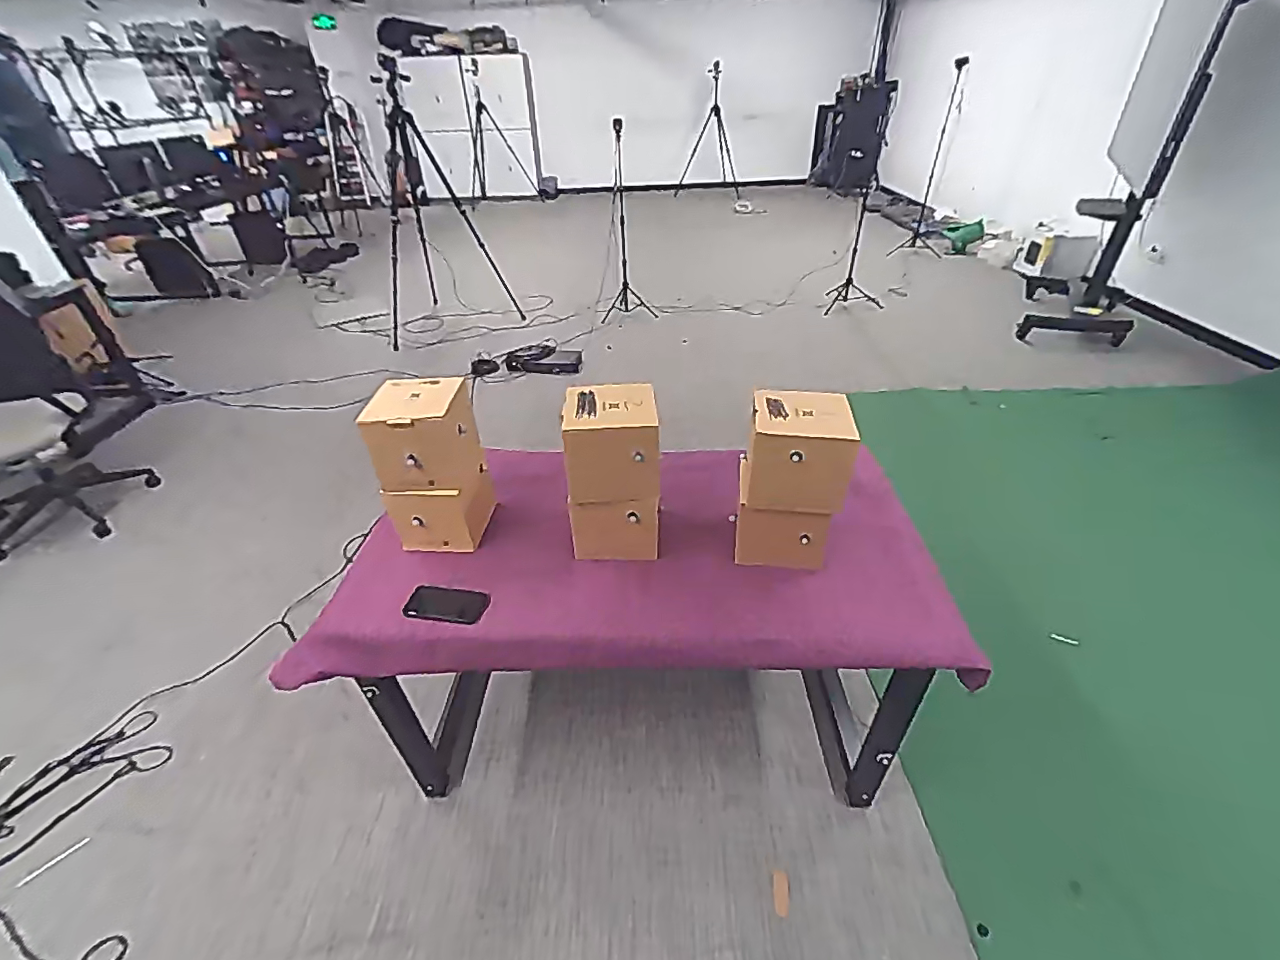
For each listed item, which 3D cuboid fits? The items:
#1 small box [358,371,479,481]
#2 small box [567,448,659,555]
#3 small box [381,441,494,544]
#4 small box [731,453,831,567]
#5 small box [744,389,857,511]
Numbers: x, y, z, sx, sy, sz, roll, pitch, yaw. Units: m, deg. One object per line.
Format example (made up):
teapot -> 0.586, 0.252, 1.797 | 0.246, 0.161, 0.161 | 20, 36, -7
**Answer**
small box -> -0.442, -0.109, 1.115 | 0.168, 0.176, 0.179 | -1, 38, 0
small box -> -0.050, 0.047, 1.164 | 0.179, 0.176, 0.168 | 1, 37, 4
small box -> -0.439, 0.027, 1.208 | 0.168, 0.176, 0.179 | 2, 37, 4
small box -> 0.289, 0.064, 1.132 | 0.179, 0.176, 0.168 | 4, 37, 9
small box -> 0.292, -0.057, 1.020 | 0.179, 0.176, 0.168 | 5, 37, 8
